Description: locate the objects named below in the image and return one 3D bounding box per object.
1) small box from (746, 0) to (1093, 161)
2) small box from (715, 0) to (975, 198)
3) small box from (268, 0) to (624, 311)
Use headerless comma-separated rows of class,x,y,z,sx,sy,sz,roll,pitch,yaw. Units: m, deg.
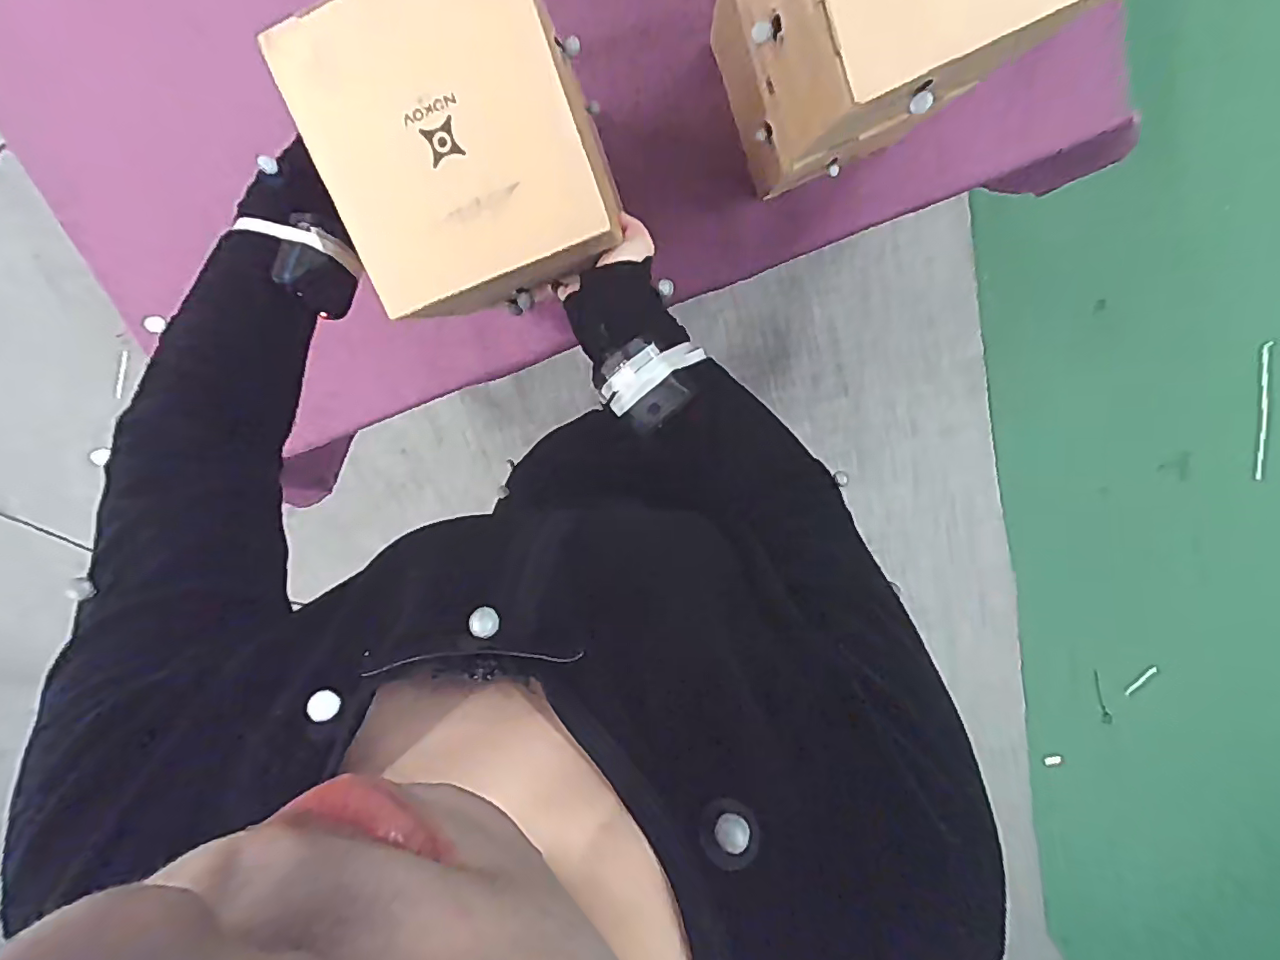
small box,0.176,-0.350,0.367,0.179,0.176,0.168,-21,107,10
small box,0.180,-0.405,0.522,0.168,0.176,0.179,-21,107,9
small box,-0.119,-0.239,0.413,0.168,0.176,0.179,-17,105,9
